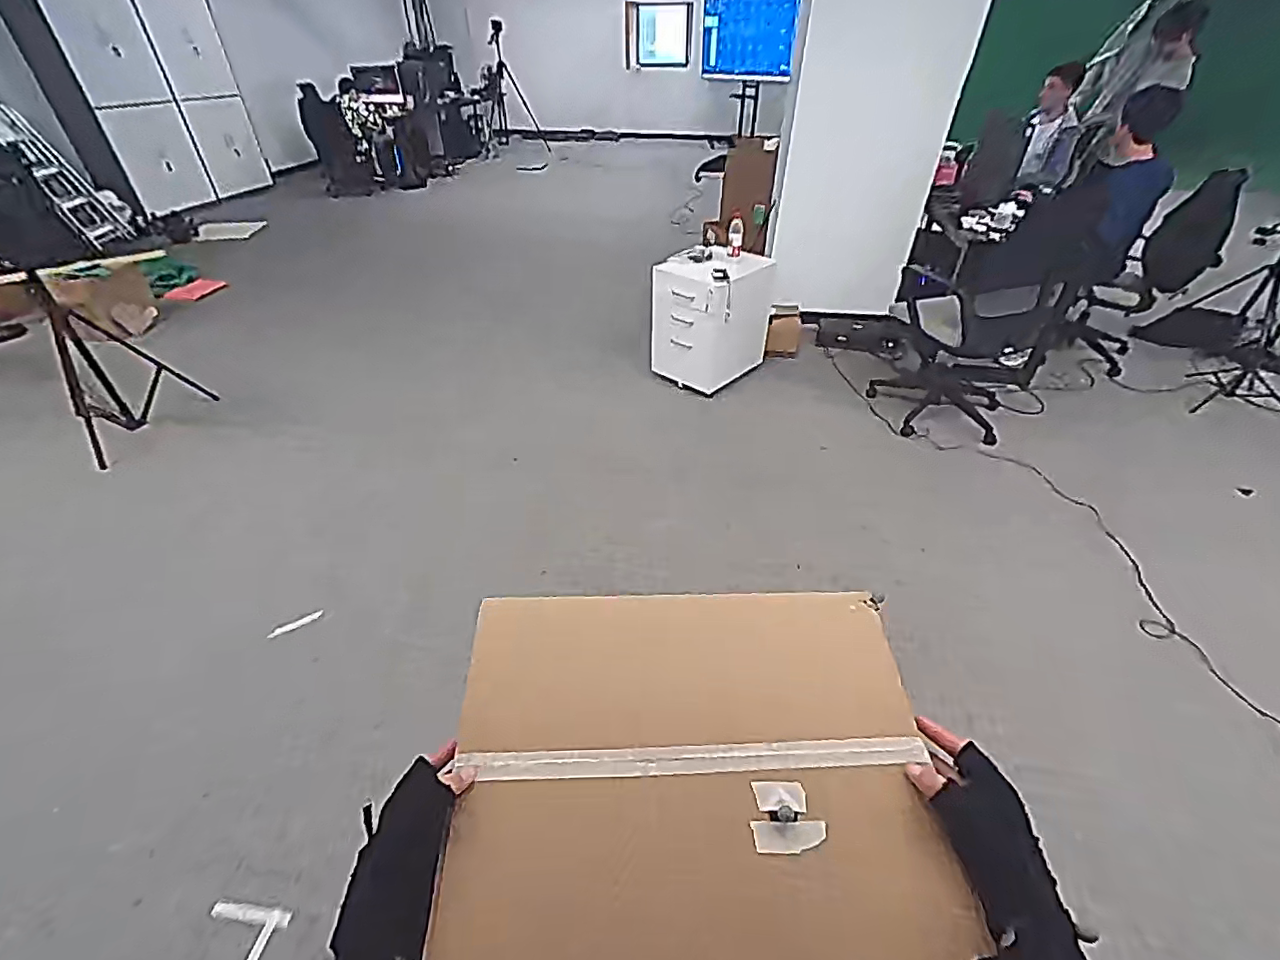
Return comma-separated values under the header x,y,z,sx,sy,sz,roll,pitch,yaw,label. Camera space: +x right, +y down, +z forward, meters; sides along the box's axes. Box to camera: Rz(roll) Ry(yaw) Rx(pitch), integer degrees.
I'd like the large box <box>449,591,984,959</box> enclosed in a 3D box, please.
x,y,z,sx,sy,sz,roll,pitch,yaw,label
0.044,0.338,0.594,0.408,0.320,0.320,0,50,-4,large box
